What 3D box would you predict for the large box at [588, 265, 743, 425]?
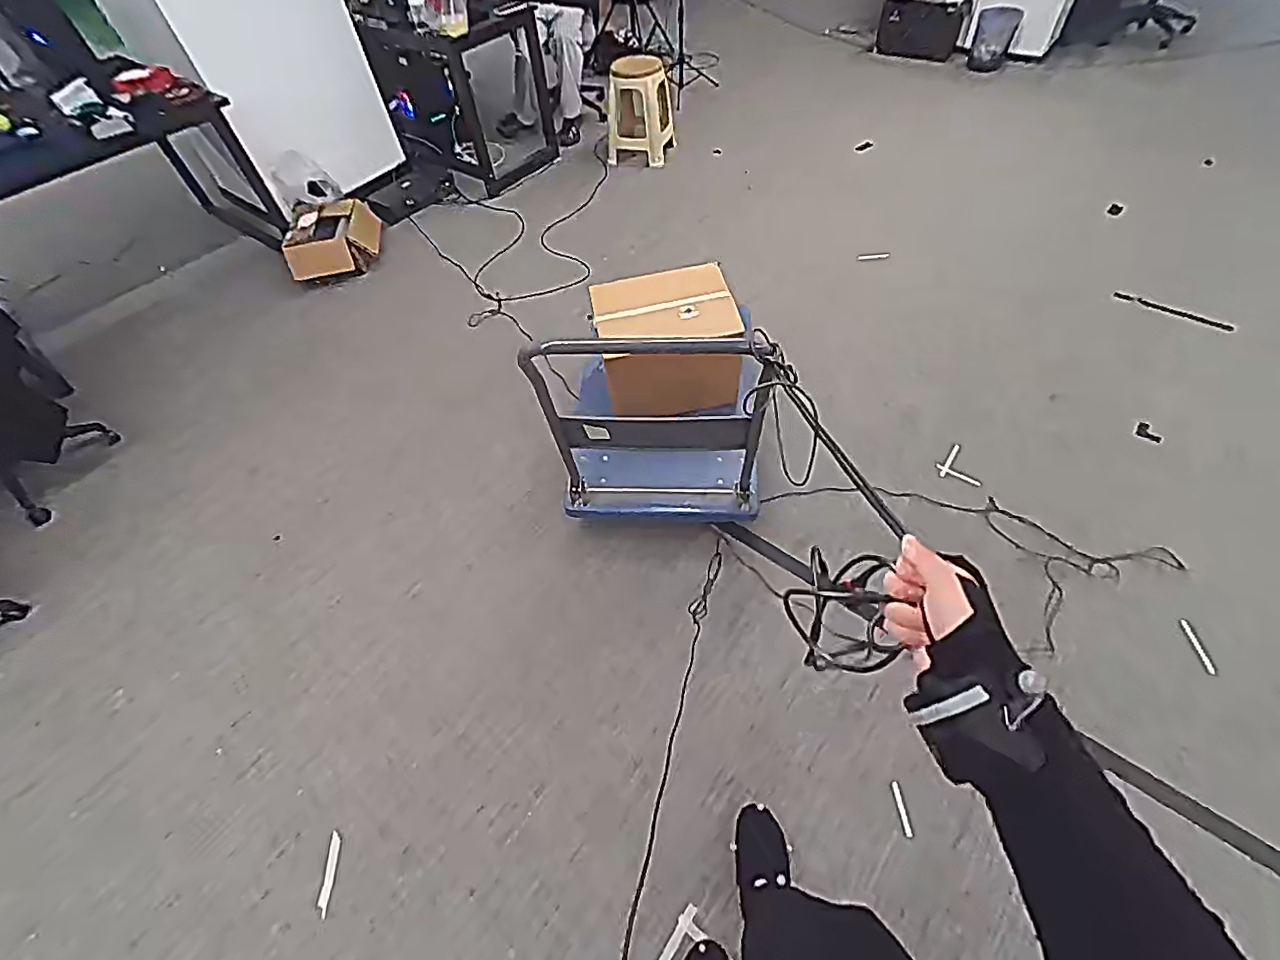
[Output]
[{"bbox_3d":[0.074,-0.413,1.683,0.408,0.320,0.320,-11,59,-2],"label":"large box"}]
